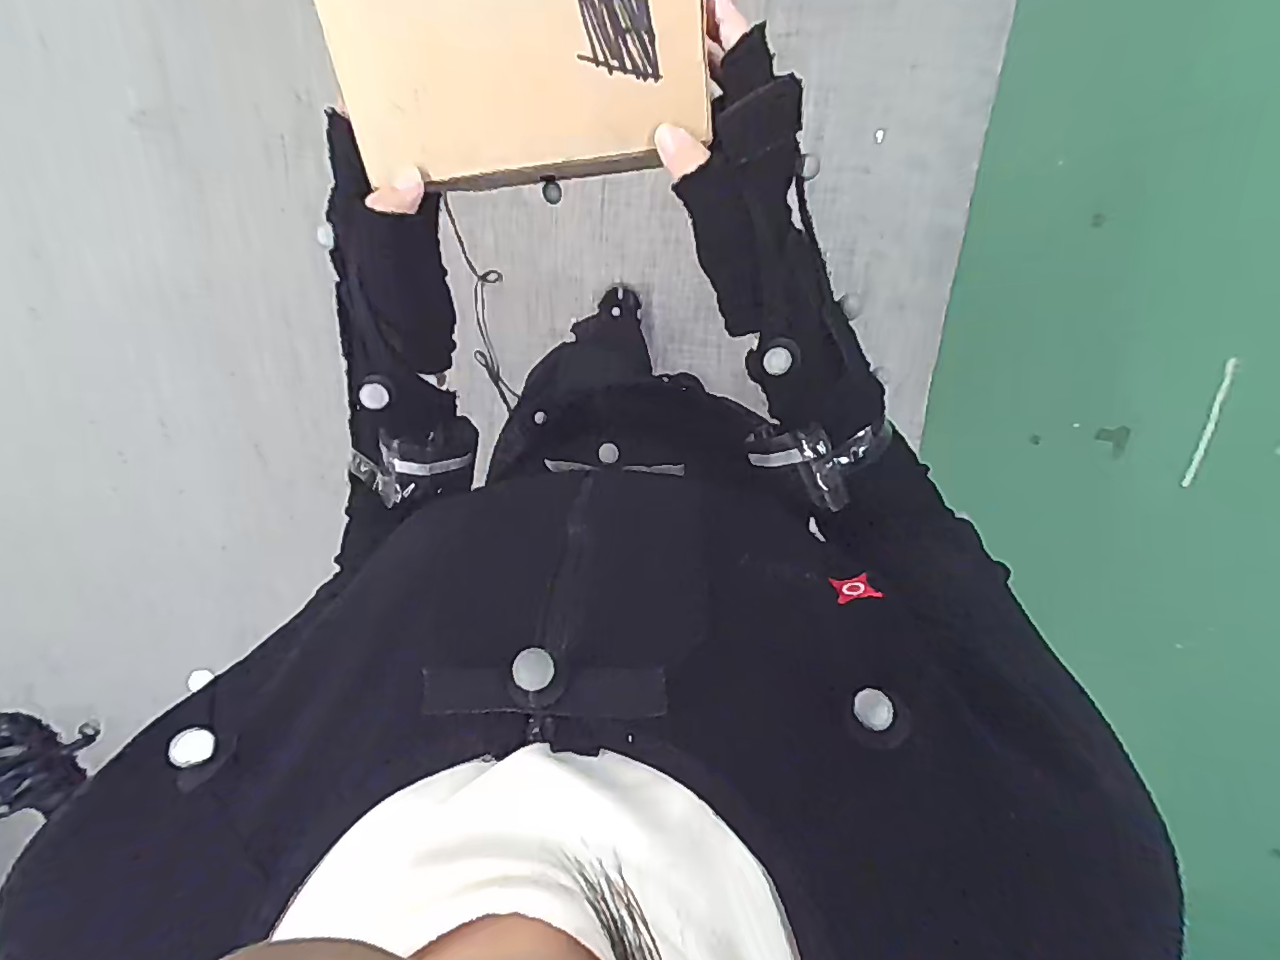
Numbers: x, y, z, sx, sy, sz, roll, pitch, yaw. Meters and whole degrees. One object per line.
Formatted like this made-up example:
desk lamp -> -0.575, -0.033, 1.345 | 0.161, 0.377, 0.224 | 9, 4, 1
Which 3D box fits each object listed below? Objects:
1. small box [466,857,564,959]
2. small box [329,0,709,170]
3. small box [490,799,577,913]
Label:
small box -> -0.264, 0.963, 1.178 | 0.168, 0.176, 0.179 | 0, 104, 4
small box -> -0.057, -0.281, 0.307 | 0.179, 0.176, 0.168 | -4, 118, 6
small box -> -0.254, 0.923, 1.336 | 0.179, 0.176, 0.168 | 0, 104, 5
